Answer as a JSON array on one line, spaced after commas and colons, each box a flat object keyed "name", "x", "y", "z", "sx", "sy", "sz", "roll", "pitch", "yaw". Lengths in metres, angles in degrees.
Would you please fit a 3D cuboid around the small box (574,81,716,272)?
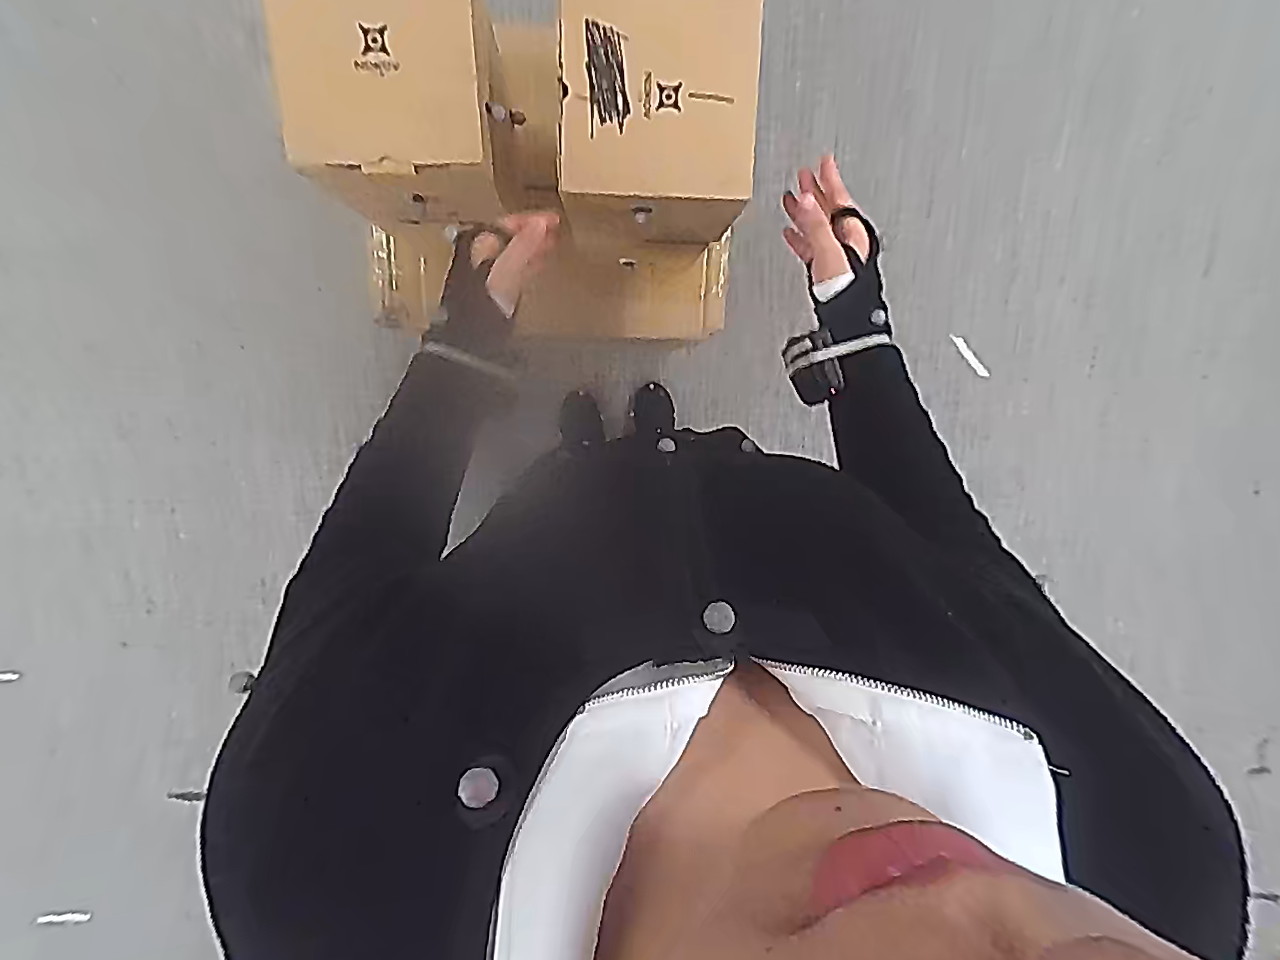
[{"name": "small box", "x": 0.001, "y": -0.384, "z": 0.715, "sx": 0.168, "sy": 0.176, "sz": 0.179, "roll": 1, "pitch": 102, "yaw": -2}]

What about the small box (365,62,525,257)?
[{"name": "small box", "x": -0.241, "y": -0.398, "z": 0.692, "sx": 0.168, "sy": 0.176, "sz": 0.179, "roll": -1, "pitch": 101, "yaw": -5}]

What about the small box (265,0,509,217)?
[{"name": "small box", "x": -0.228, "y": -0.369, "z": 0.530, "sx": 0.168, "sy": 0.176, "sz": 0.179, "roll": -3, "pitch": 102, "yaw": -4}]
